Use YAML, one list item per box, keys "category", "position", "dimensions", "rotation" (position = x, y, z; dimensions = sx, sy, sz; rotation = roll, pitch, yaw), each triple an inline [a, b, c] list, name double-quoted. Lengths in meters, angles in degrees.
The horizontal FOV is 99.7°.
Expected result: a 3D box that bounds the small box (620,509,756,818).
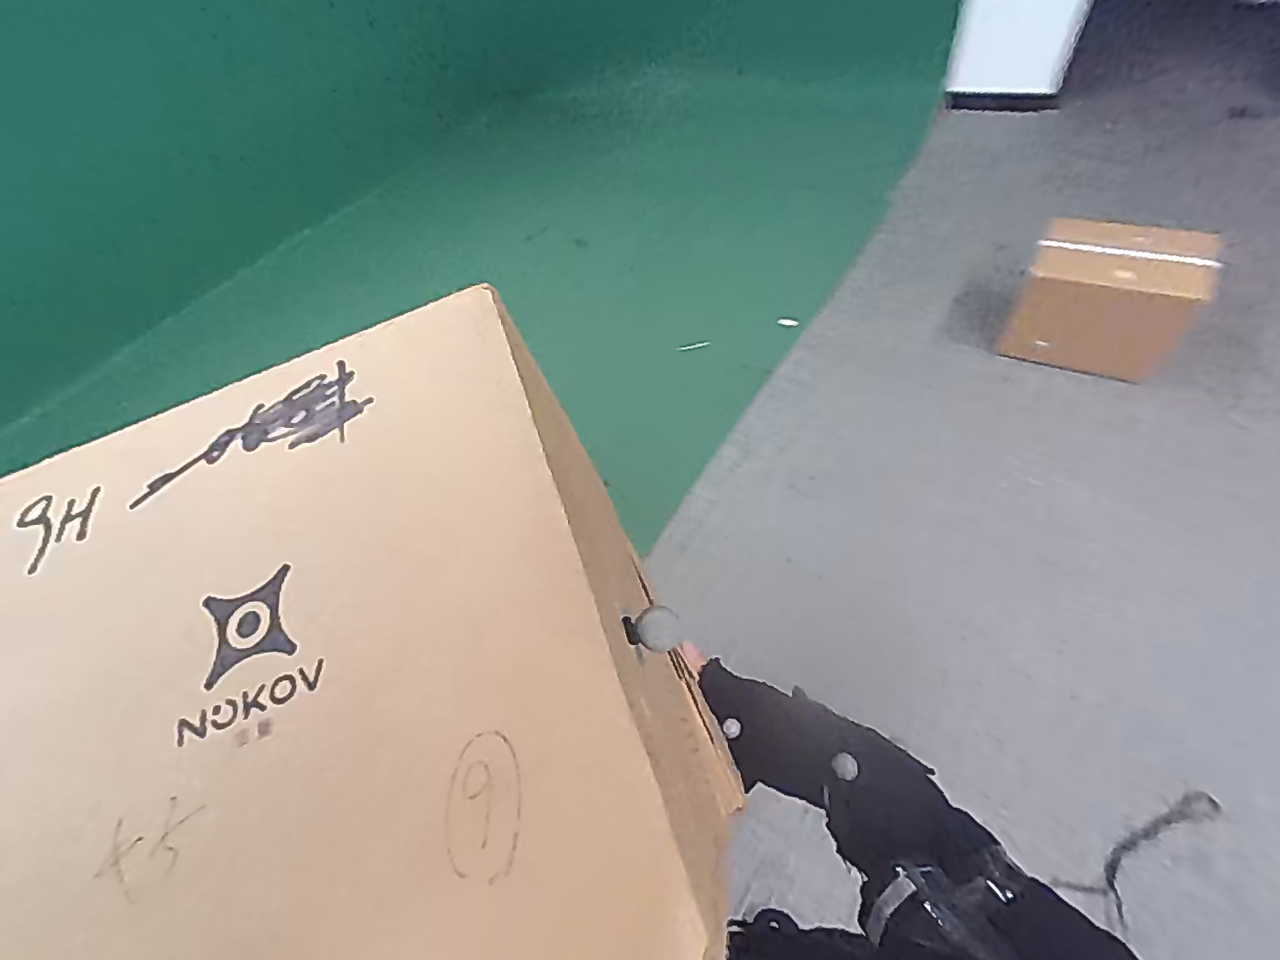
- category: "small box"
  position: [-0.046, 0.147, 0.348]
  dimensions: [0.179, 0.176, 0.168]
  rotation: [-27, 64, -4]
